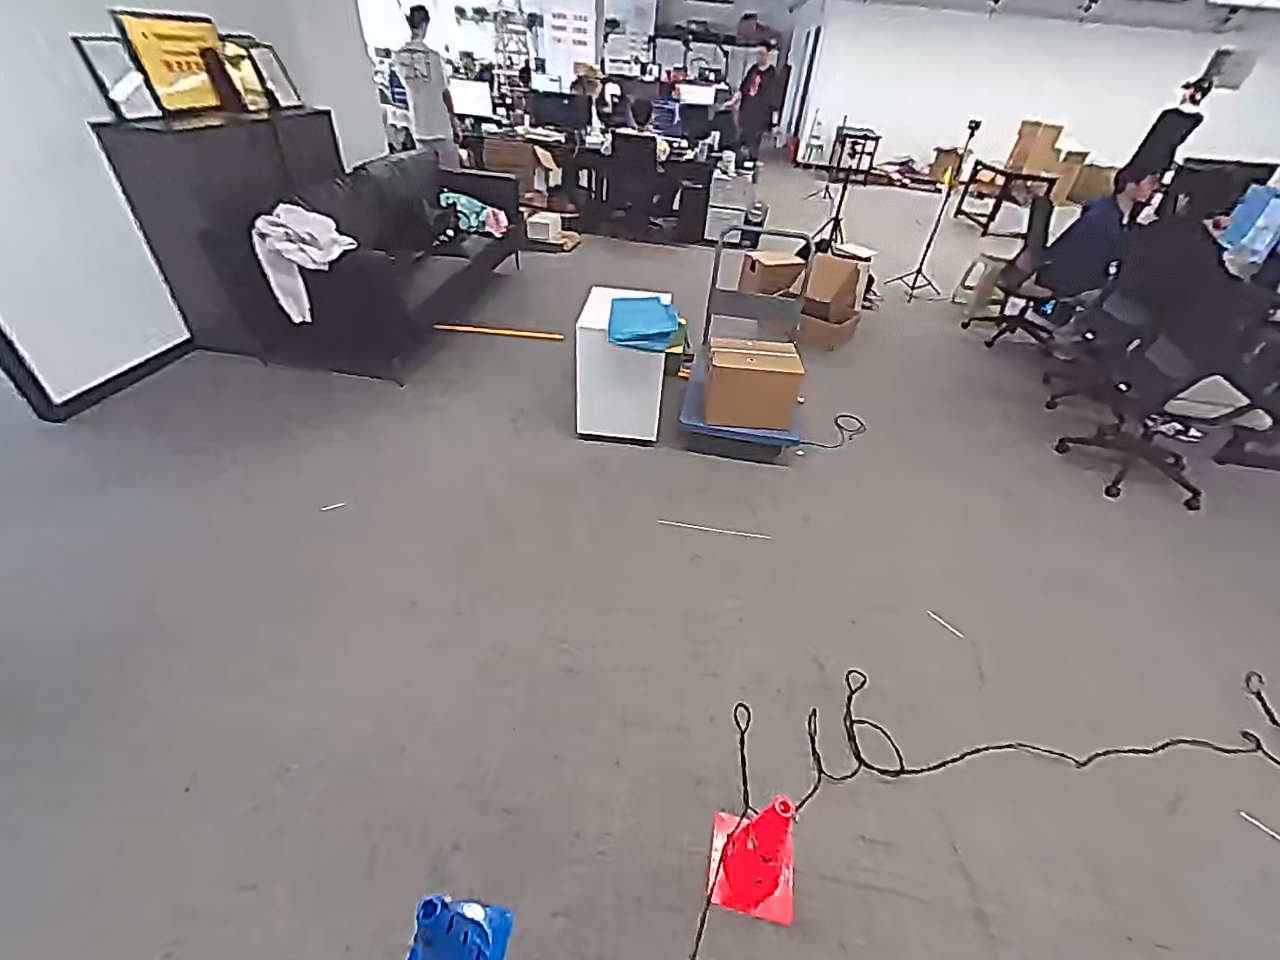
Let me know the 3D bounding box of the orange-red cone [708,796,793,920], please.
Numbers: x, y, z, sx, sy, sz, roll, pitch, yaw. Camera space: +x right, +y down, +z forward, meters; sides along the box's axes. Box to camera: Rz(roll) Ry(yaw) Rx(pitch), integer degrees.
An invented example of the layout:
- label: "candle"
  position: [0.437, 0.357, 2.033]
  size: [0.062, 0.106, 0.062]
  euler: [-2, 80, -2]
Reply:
- label: "orange-red cone"
  position: [0.282, 0.802, 1.212]
  size: [0.198, 0.360, 0.199]
  euler: [11, 40, 9]
